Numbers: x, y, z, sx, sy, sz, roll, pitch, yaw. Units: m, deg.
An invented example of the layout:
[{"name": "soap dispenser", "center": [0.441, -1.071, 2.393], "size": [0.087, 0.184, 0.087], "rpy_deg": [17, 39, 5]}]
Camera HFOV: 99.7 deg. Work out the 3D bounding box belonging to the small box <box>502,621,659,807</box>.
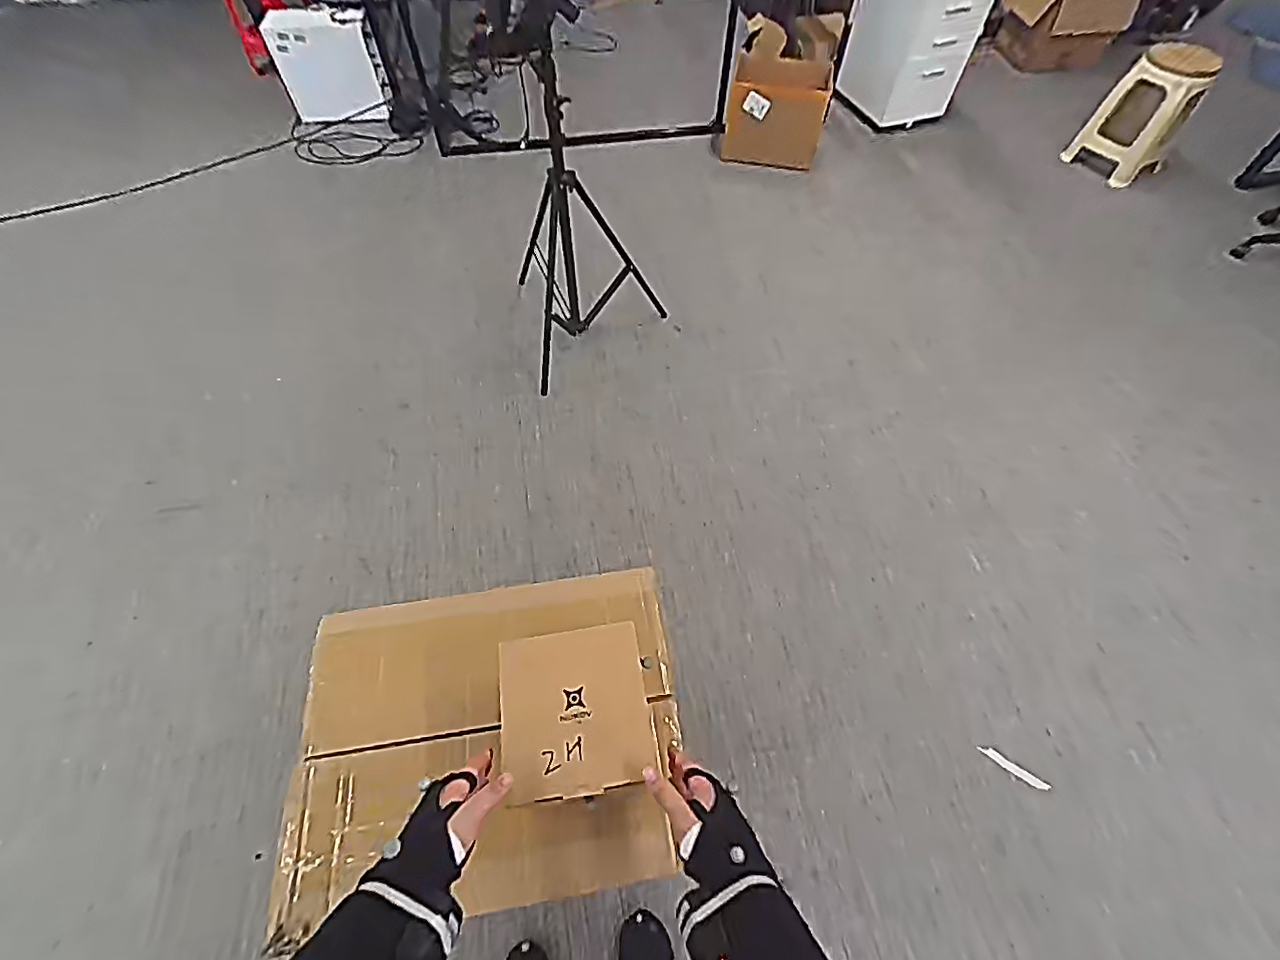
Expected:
[{"name": "small box", "center": [-0.074, 0.298, 0.680], "size": [0.168, 0.176, 0.179], "rpy_deg": [-9, 60, -5]}]
